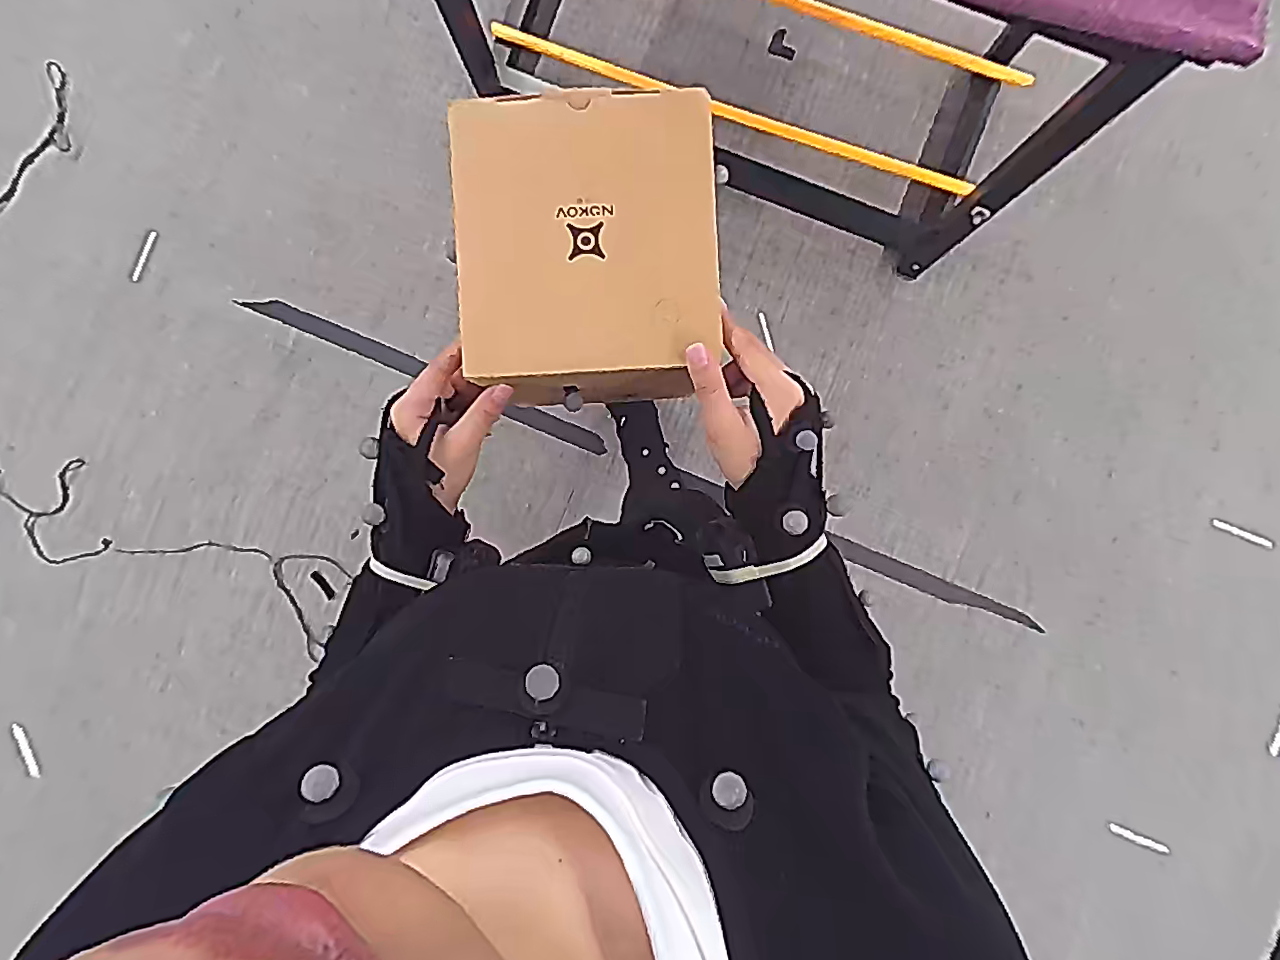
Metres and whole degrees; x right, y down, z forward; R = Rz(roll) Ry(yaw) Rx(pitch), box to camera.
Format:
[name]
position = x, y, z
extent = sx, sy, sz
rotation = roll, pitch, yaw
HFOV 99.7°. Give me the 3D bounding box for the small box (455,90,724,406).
[small box]
position = -0.030, -0.154, 0.420
extent = 0.168, 0.176, 0.179
rotation = -4, 90, 0
